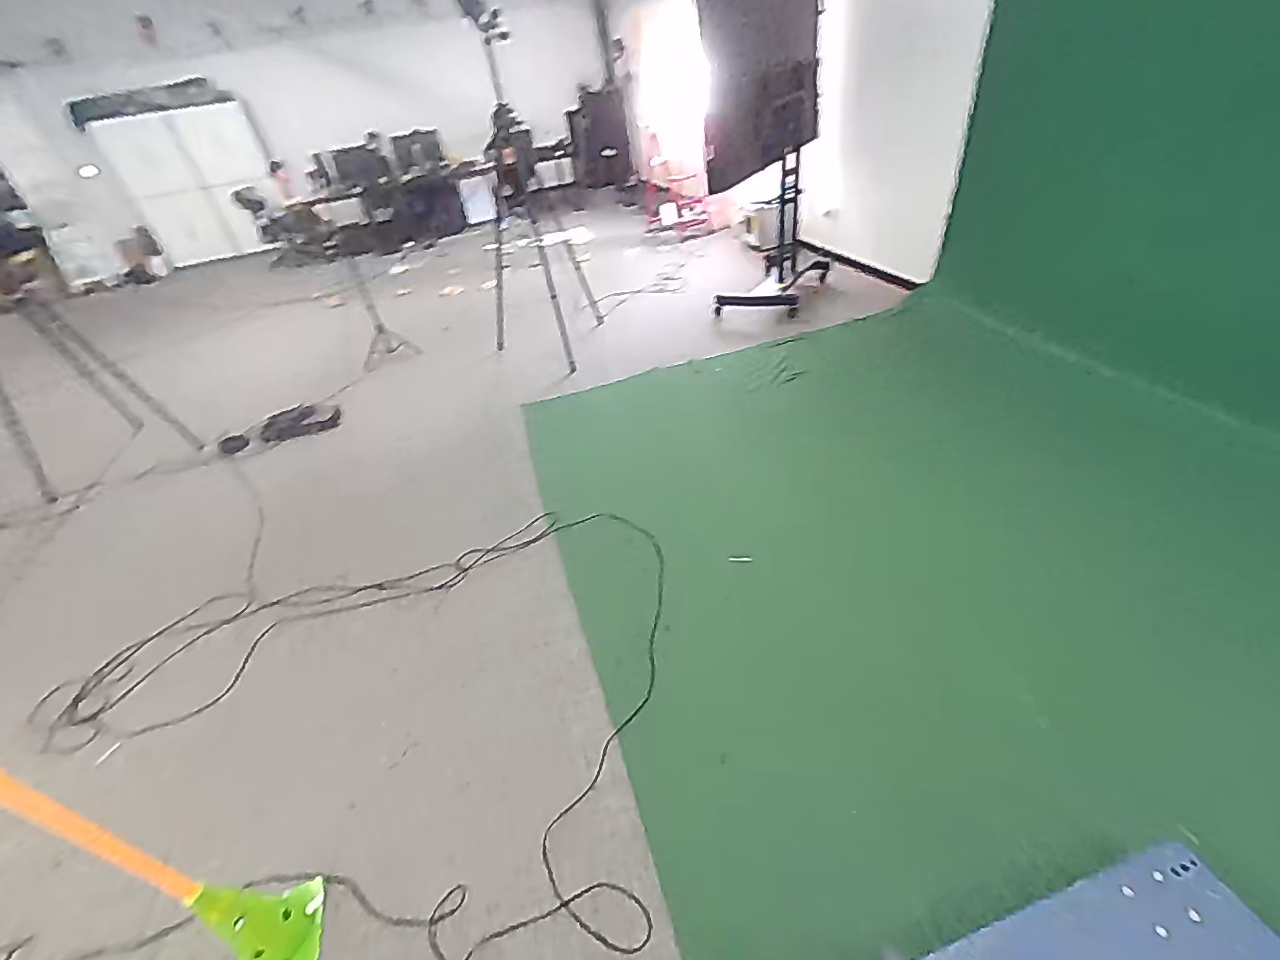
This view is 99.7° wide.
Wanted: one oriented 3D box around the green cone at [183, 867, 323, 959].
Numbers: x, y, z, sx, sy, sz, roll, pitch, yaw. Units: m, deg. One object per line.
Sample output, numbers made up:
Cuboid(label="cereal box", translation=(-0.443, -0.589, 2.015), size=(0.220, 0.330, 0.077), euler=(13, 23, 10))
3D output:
Cuboid(label="green cone", translation=(-0.947, 1.012, 1.284), size=(0.200, 0.368, 0.202), euler=(-19, 38, -12))
